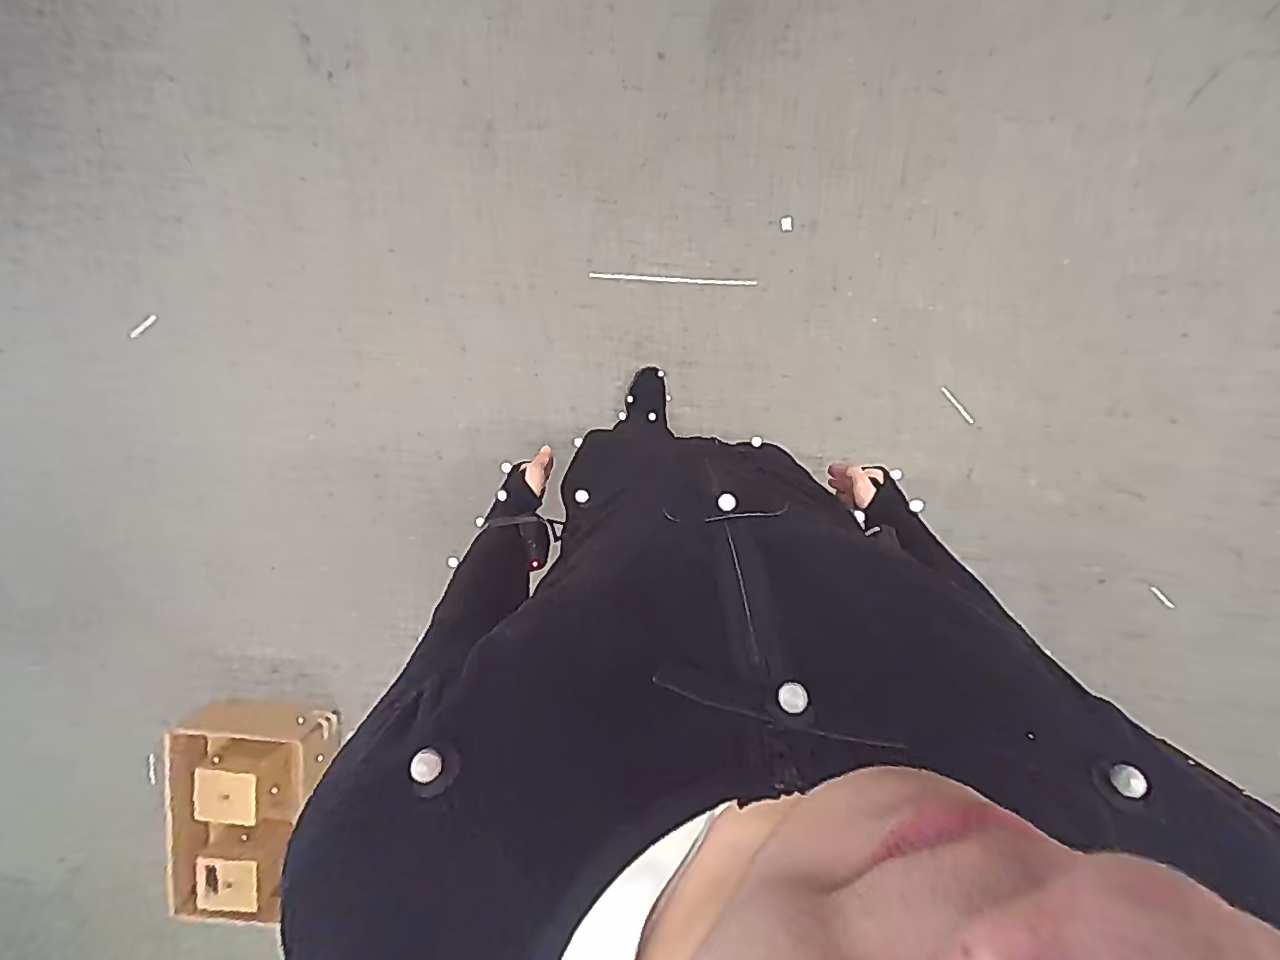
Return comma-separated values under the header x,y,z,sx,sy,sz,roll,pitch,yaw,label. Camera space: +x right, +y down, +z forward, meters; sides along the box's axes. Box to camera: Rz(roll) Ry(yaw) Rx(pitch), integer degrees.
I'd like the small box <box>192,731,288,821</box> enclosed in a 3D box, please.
x,y,z,sx,sy,sz,roll,pitch,yaw,label
-1.191,0.880,1.621,0.179,0.176,0.168,6,97,0,small box
